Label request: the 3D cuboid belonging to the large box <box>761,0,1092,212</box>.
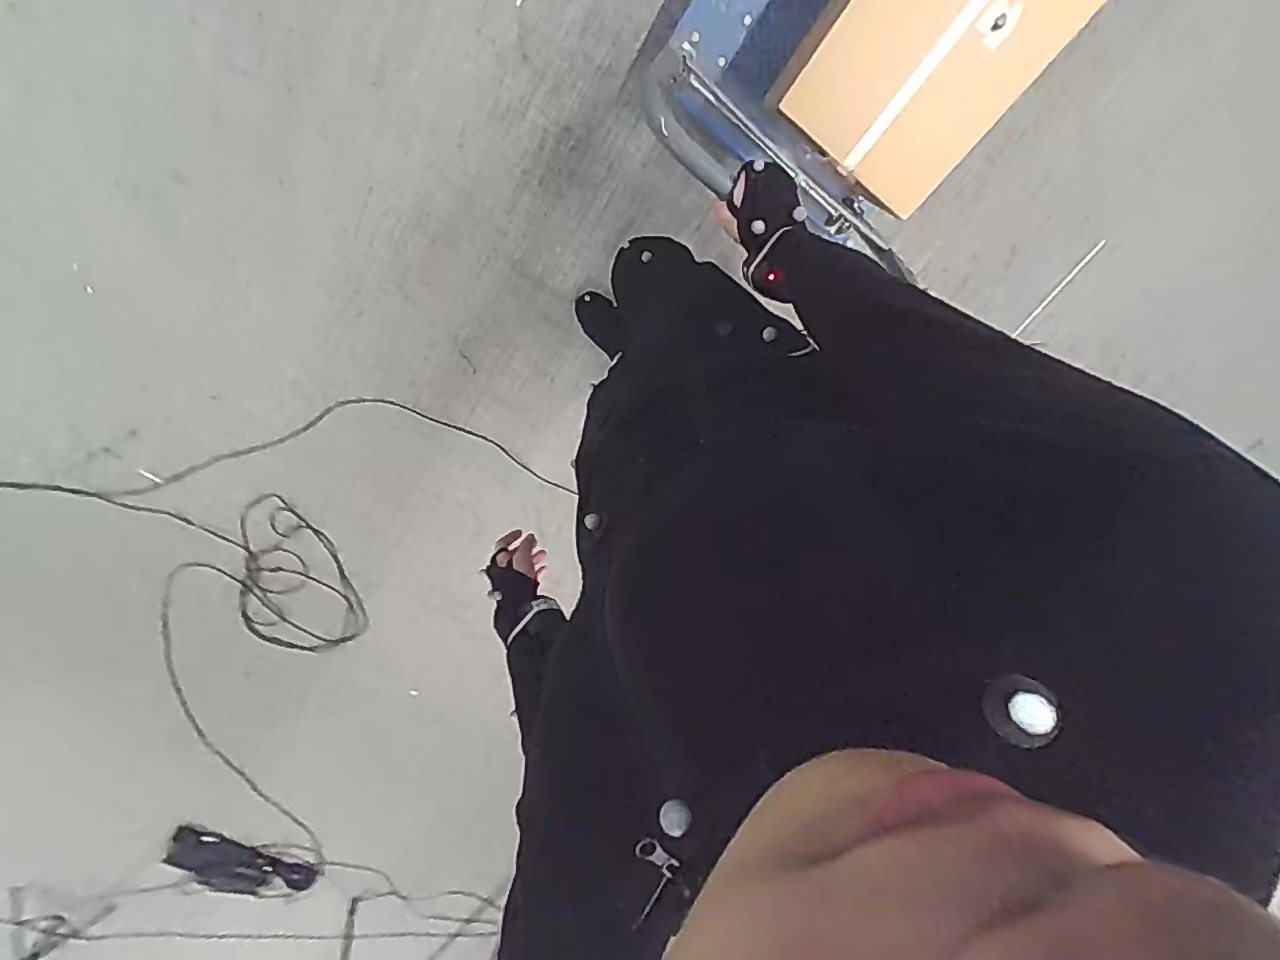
[{"bbox_3d":[0.473,-0.771,0.966,0.320,0.320,0.408,31,122,-17],"label":"large box"}]
